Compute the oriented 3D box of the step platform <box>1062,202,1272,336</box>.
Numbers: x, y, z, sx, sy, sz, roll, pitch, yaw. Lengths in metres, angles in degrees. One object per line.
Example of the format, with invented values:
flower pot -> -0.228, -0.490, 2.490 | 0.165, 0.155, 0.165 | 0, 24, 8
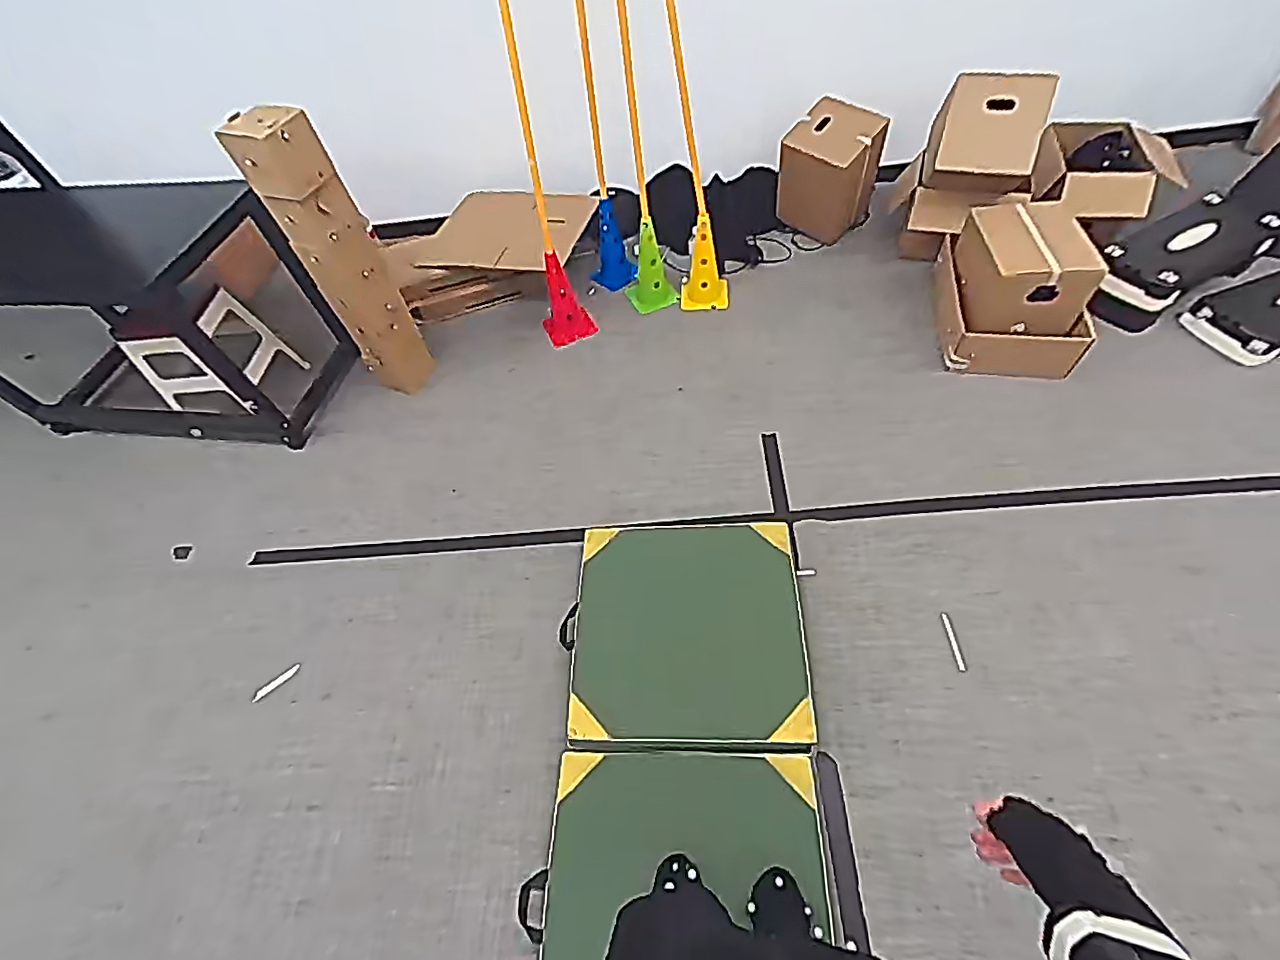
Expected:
step platform -> 1.990, -0.808, 2.048 | 0.684, 0.204, 0.286 | -28, 56, -11
